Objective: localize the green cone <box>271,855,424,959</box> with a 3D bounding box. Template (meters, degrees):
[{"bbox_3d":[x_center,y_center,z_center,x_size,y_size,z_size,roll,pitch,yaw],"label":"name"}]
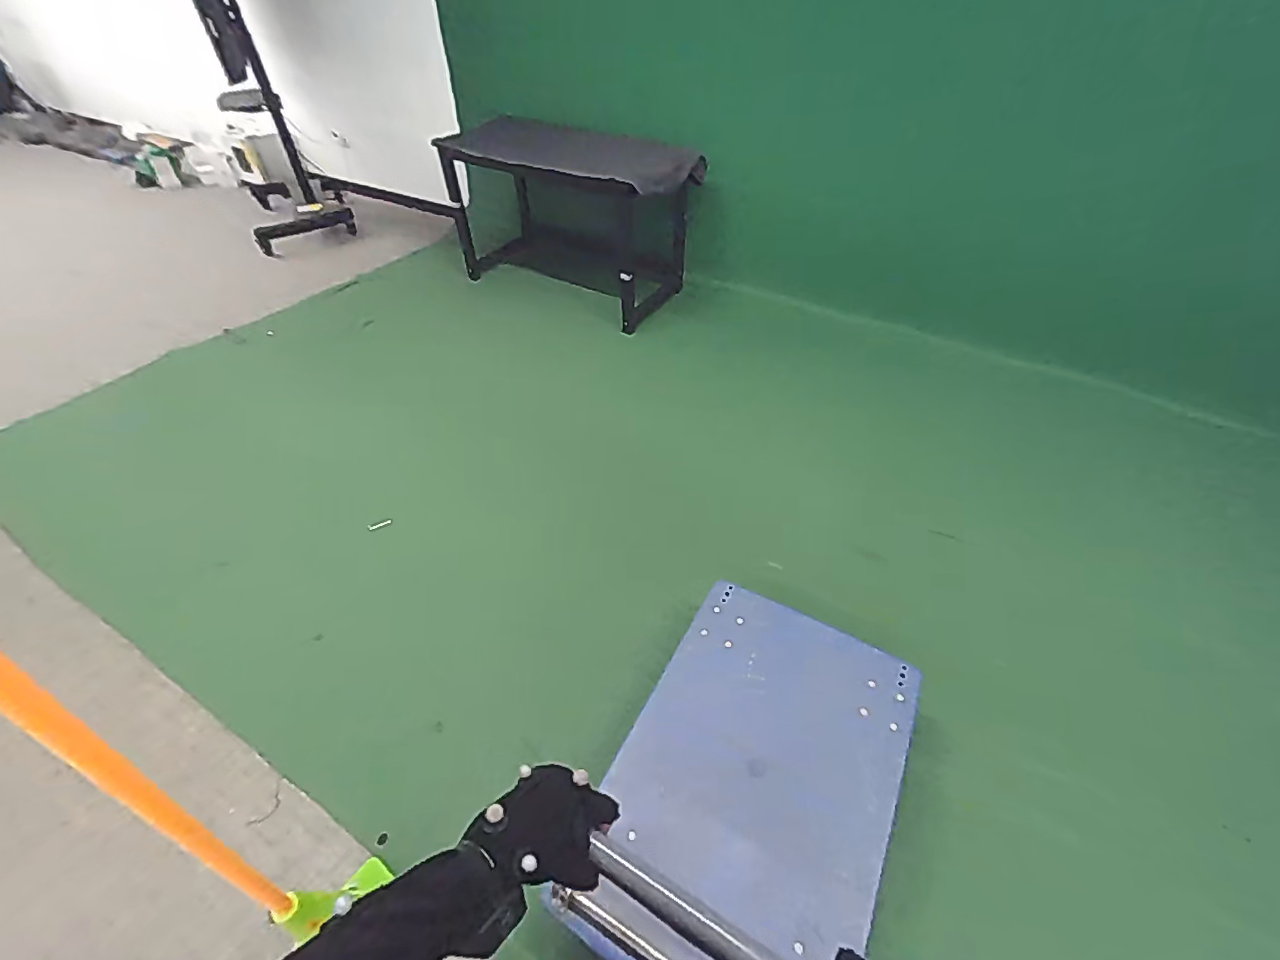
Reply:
[{"bbox_3d":[-0.587,0.821,1.022,0.202,0.368,0.200,26,49,24],"label":"green cone"}]
